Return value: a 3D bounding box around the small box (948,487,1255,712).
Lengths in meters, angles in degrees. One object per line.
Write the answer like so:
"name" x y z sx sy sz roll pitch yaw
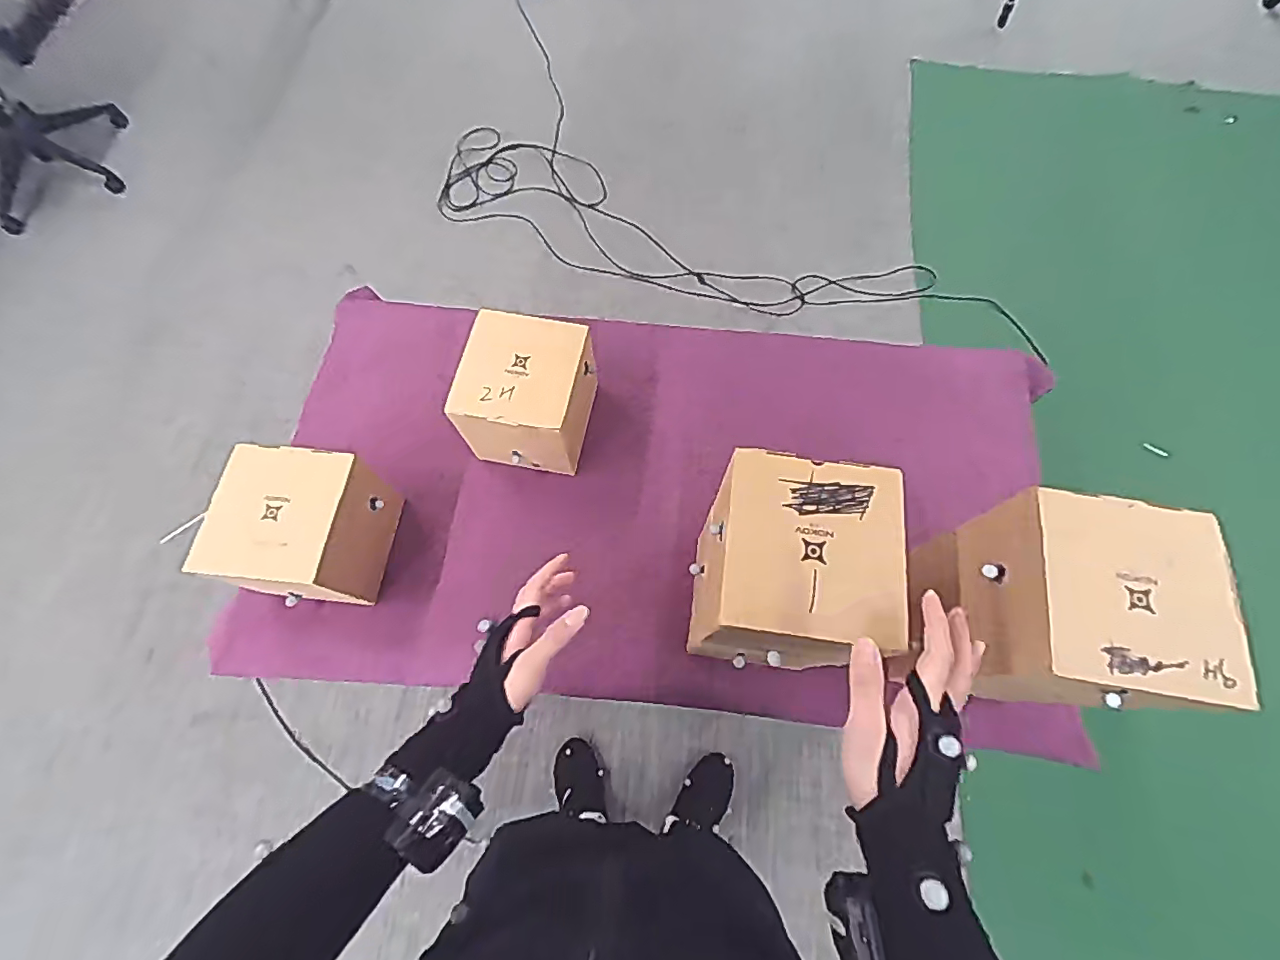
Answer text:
"small box" 0.438 0.129 0.553 0.168 0.176 0.179 9 68 5

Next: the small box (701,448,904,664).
"small box" 0.160 0.089 0.574 0.168 0.176 0.179 8 69 4

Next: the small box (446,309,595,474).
"small box" -0.168 -0.129 0.832 0.168 0.176 0.179 11 70 4

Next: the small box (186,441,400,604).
"small box" -0.461 0.066 0.757 0.168 0.176 0.179 6 69 3

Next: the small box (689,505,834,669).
"small box" 0.159 0.151 0.726 0.168 0.176 0.179 7 68 4
